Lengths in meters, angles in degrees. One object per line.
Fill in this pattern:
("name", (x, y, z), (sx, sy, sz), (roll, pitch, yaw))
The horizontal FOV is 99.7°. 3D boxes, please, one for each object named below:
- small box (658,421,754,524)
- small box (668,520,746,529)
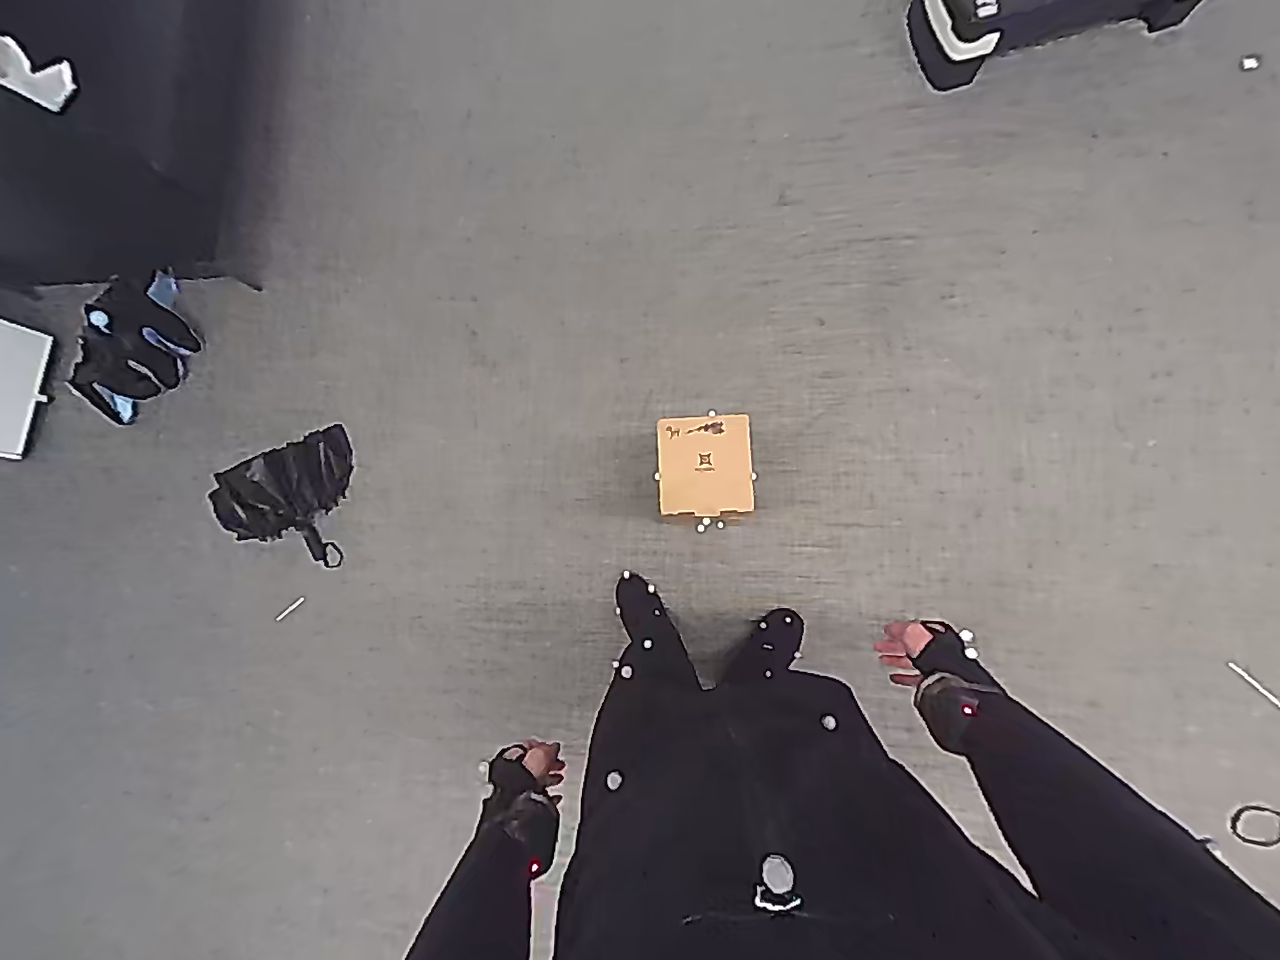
("small box", (0.126, -0.006, 1.027), (0.168, 0.176, 0.179), (-3, 83, 7))
("small box", (0.146, 0.017, 1.187), (0.168, 0.176, 0.179), (-2, 81, 6))
